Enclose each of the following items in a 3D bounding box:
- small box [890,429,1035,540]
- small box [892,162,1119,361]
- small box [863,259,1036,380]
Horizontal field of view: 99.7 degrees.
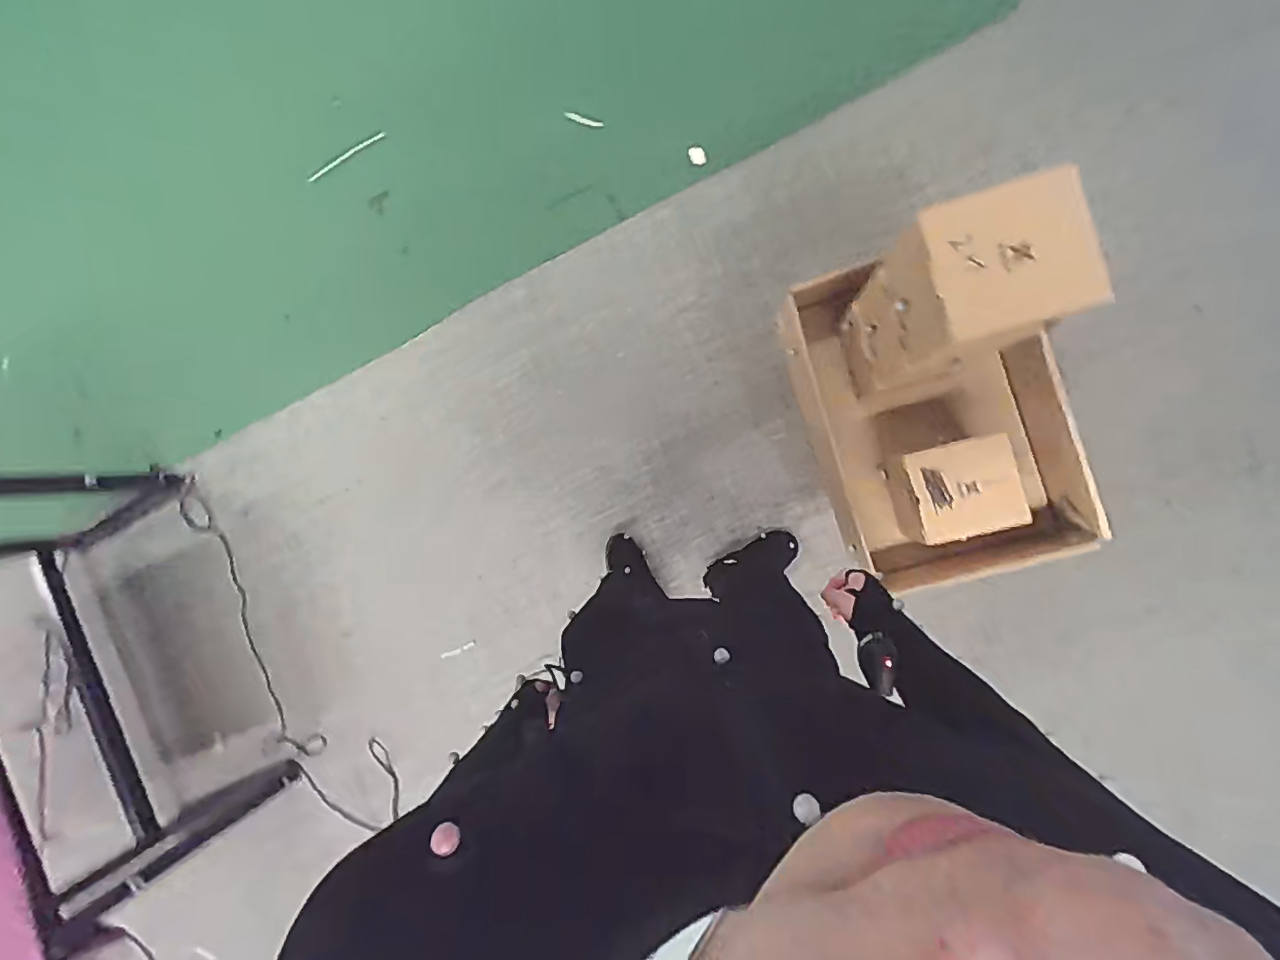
[{"bbox_3d":[0.591,0.009,1.021,0.179,0.176,0.168,-15,89,10],"label":"small box"},{"bbox_3d":[0.458,-0.268,0.707,0.179,0.176,0.168,-14,88,11],"label":"small box"},{"bbox_3d":[0.484,-0.271,0.871,0.179,0.176,0.168,-15,89,11],"label":"small box"}]
